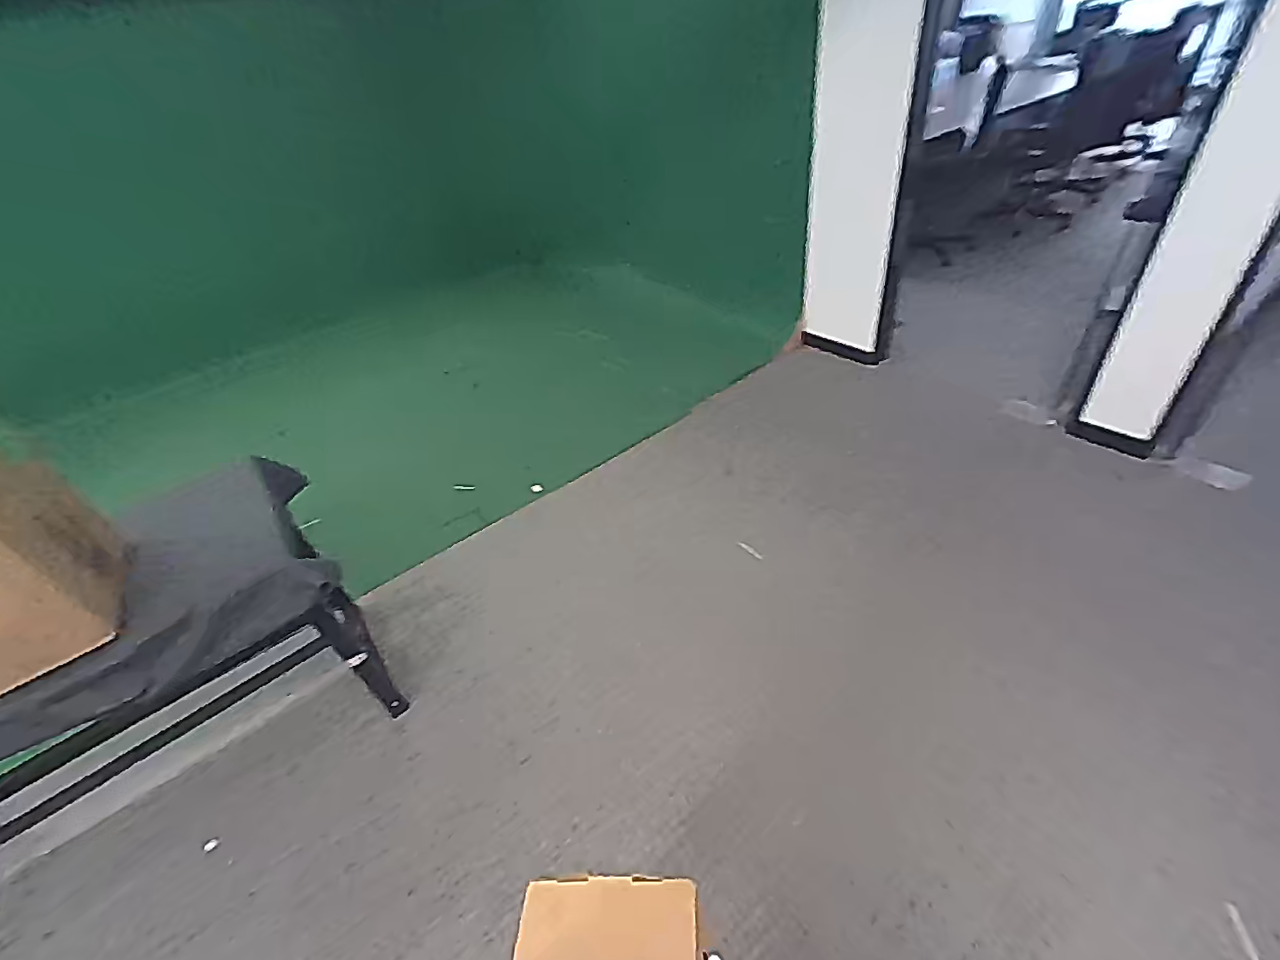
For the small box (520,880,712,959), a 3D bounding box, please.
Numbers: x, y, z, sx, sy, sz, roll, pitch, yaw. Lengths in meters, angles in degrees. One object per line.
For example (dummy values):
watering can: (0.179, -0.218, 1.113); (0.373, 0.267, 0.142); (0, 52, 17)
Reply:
small box: (-0.017, 0.503, 0.495); (0.168, 0.176, 0.179); (-6, 34, 8)
